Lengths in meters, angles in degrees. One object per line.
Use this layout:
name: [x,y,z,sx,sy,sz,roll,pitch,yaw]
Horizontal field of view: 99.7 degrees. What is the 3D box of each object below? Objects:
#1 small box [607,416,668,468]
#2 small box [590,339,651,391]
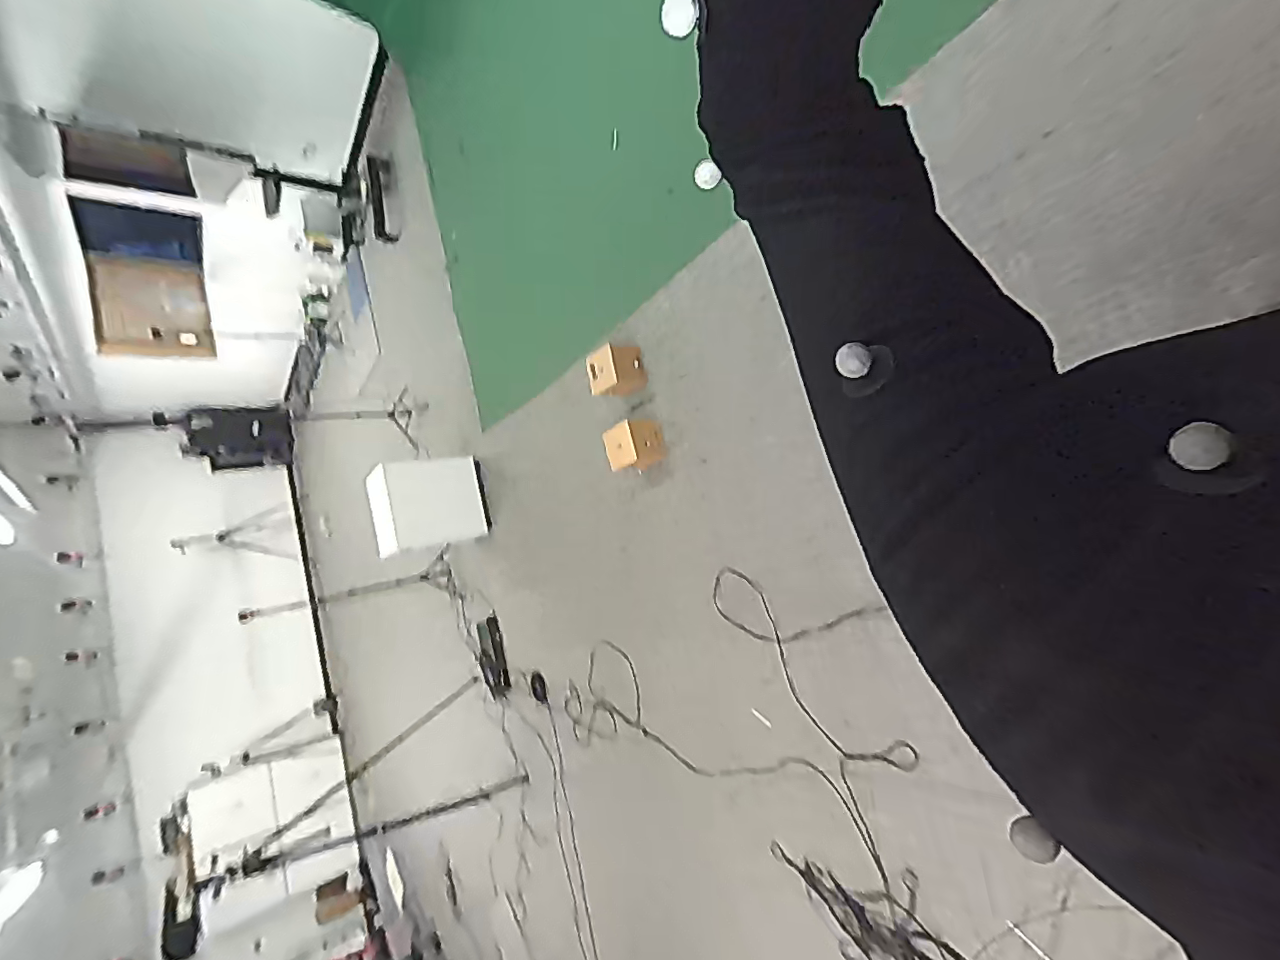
small box: [-0.005,-0.159,2.212,0.179,0.176,0.168,-25,76,49]
small box: [-0.083,-0.472,2.255,0.179,0.176,0.168,-19,81,48]
